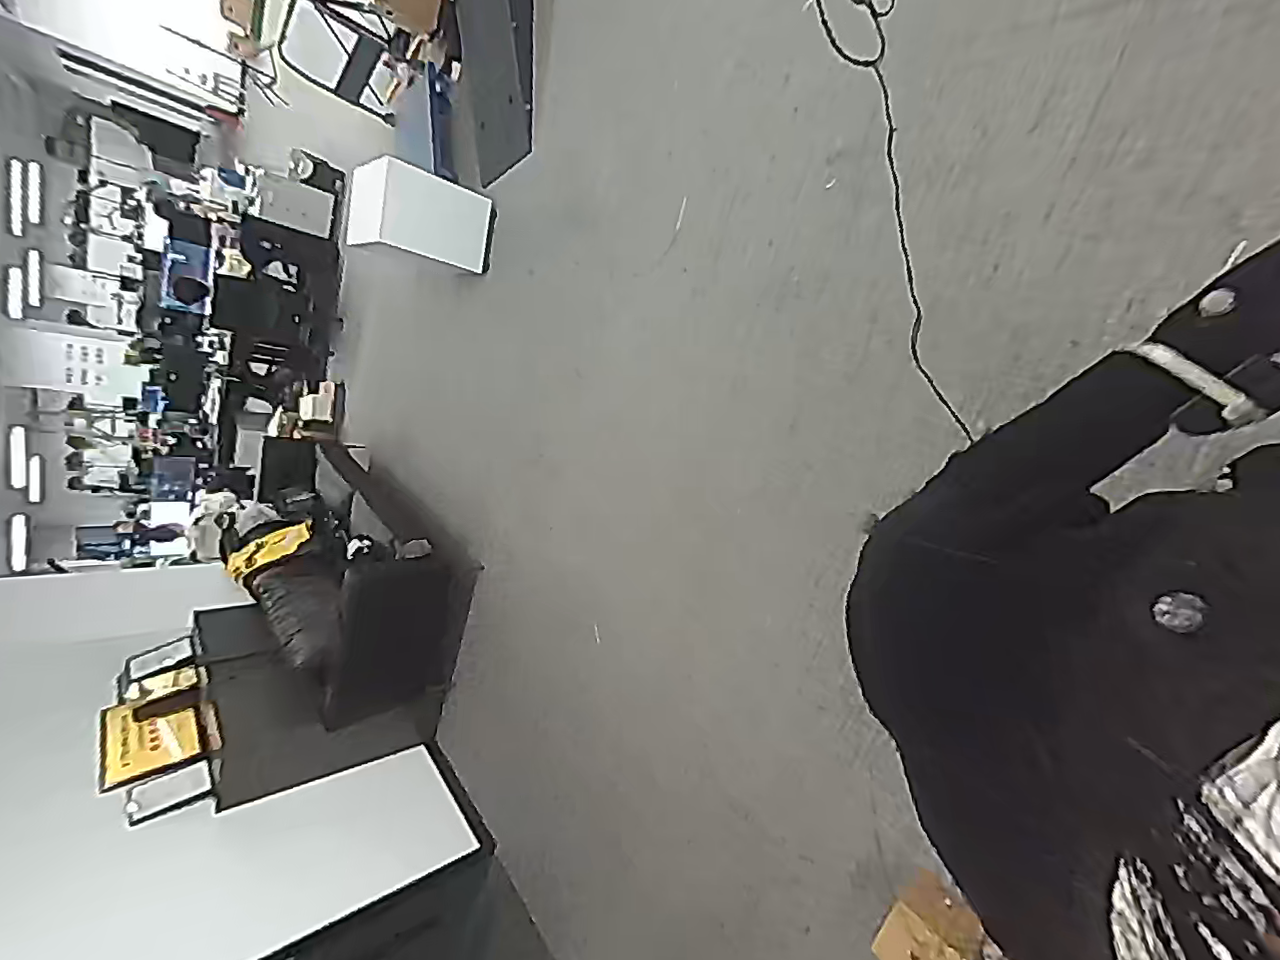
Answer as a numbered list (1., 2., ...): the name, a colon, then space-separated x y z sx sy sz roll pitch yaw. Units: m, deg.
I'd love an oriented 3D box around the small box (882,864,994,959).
1. small box: 0.735 1.107 1.329 0.168 0.176 0.179 31 111 40
